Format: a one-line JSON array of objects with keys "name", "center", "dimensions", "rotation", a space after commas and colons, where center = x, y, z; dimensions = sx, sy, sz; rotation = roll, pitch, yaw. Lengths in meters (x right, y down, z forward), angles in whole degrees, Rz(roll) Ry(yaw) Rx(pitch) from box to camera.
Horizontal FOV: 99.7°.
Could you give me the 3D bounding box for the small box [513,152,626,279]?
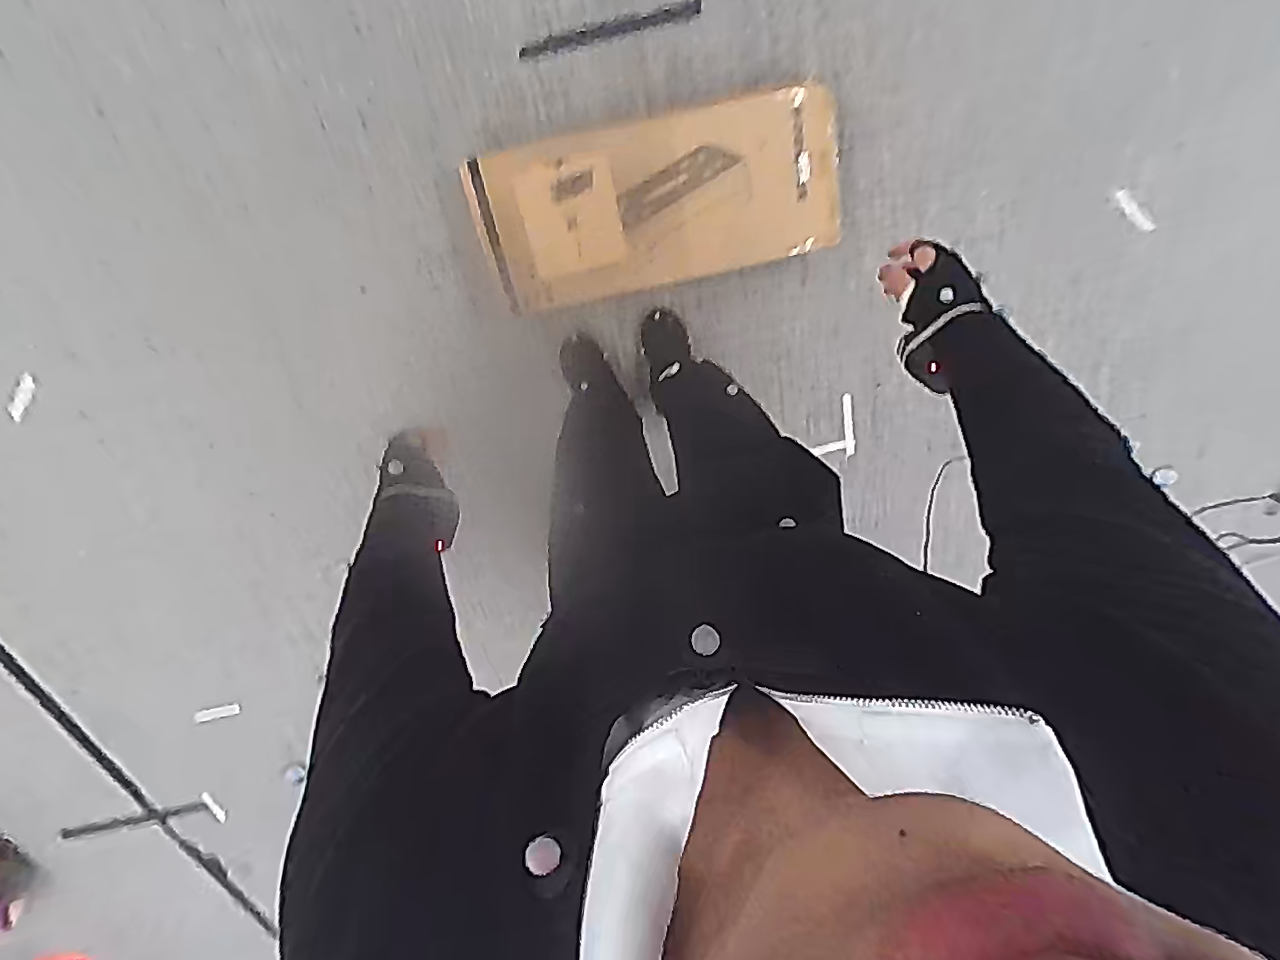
[{"name": "small box", "center": [-0.129, -0.490, 1.016], "dimensions": [0.168, 0.176, 0.179], "rotation": [-14, 116, 1]}]
